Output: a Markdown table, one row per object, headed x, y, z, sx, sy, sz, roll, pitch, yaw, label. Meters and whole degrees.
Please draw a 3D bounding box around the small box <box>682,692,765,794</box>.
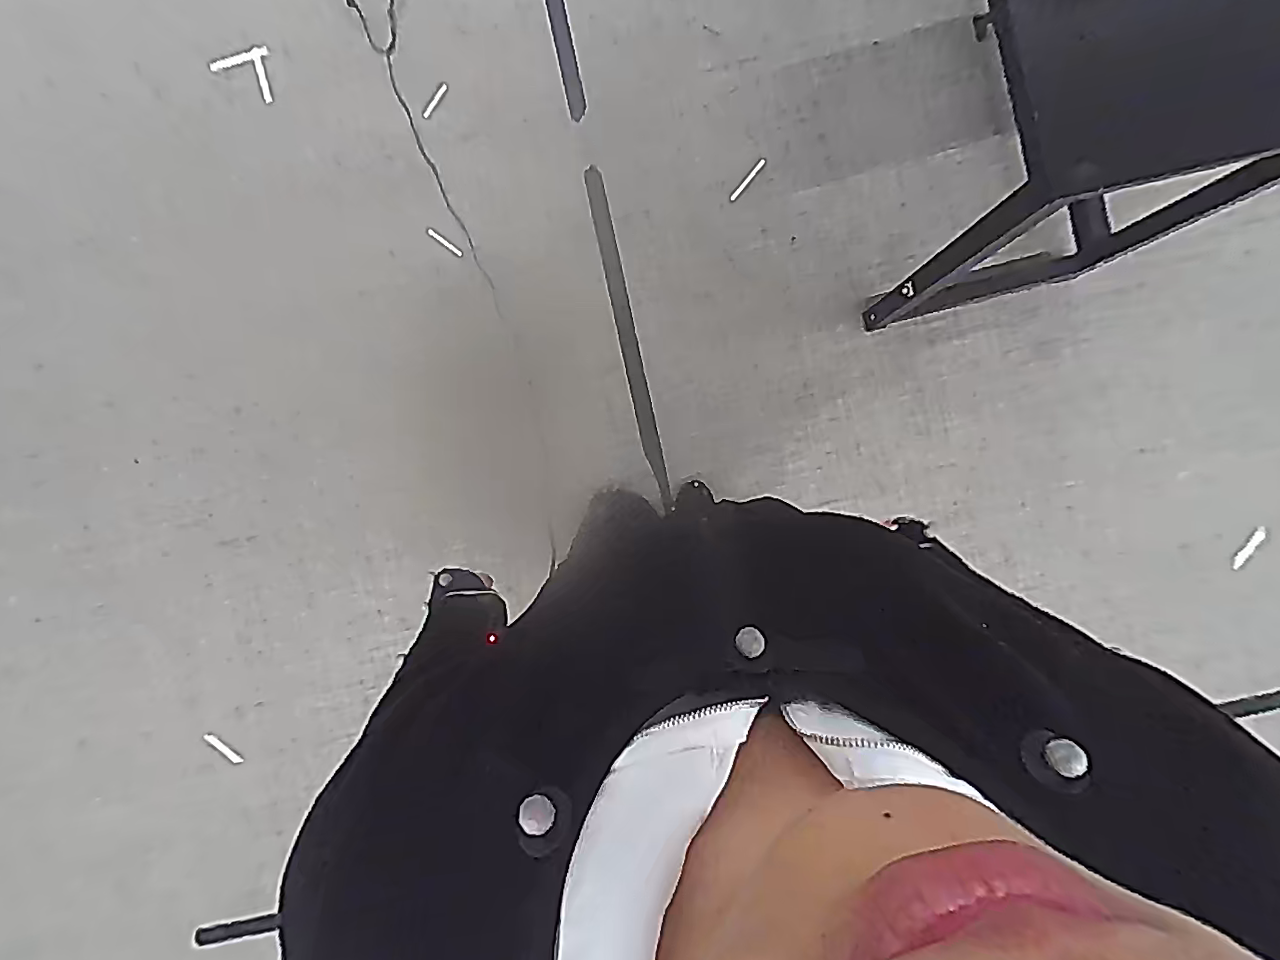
| x | y | z | sx | sy | sz | roll | pitch | yaw | label |
| --- | --- | --- | --- | --- | --- | --- | --- | --- | --- |
| 0.211 | 0.680 | 1.415 | 0.179 | 0.176 | 0.168 | -14 | 90 | 2 | small box |
